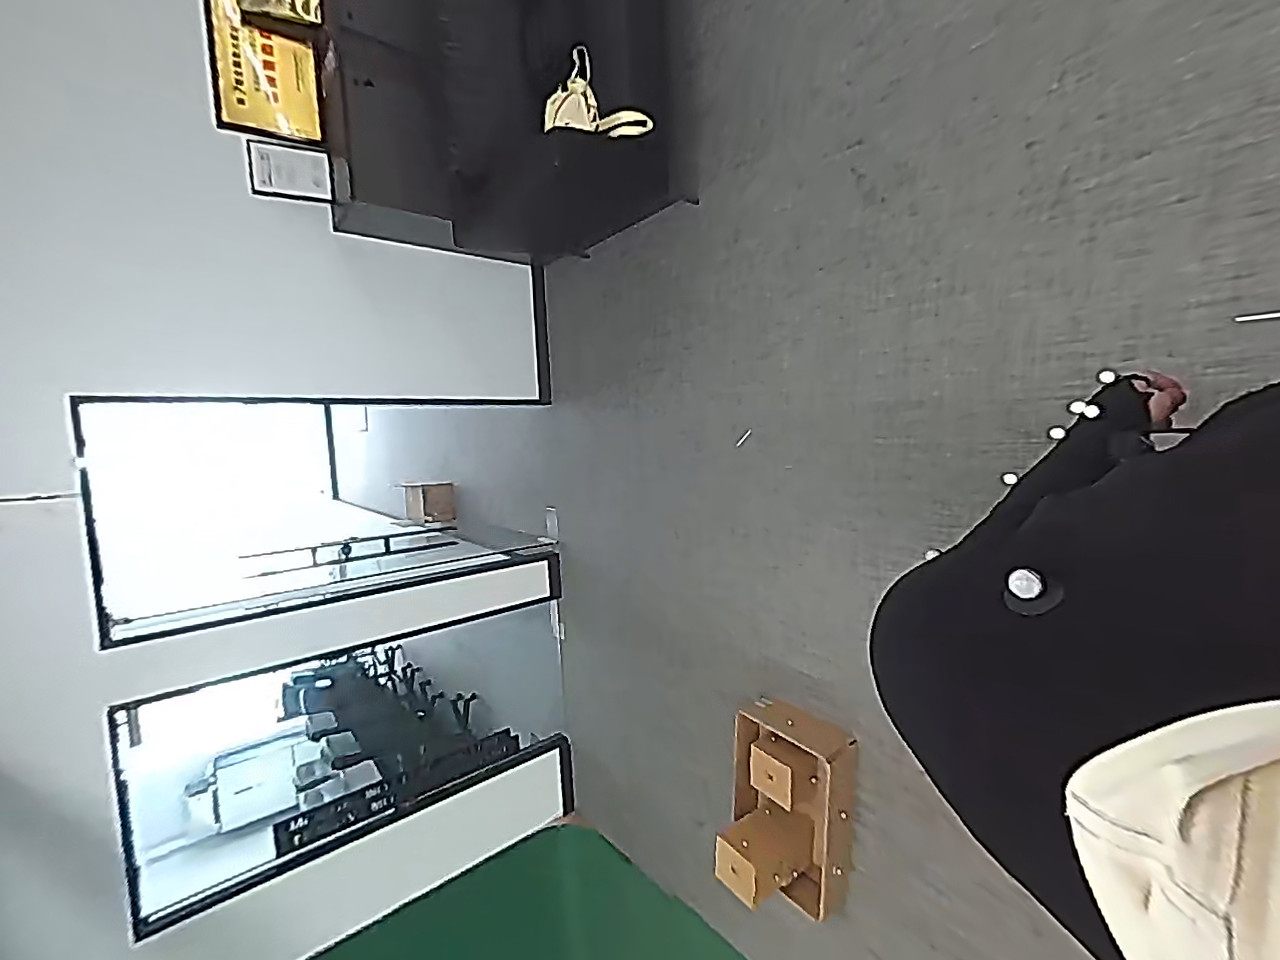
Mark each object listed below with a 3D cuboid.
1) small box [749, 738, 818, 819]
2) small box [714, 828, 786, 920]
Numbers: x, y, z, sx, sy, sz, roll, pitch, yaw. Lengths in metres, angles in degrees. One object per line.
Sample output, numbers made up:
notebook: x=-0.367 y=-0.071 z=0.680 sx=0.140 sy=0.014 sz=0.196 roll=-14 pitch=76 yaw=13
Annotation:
small box: x=0.512 y=1.055 z=1.934 sx=0.179 sy=0.176 sz=0.168 roll=9 pitch=103 yaw=50
small box: x=0.379 y=1.349 z=1.874 sx=0.179 sy=0.176 sz=0.168 roll=10 pitch=101 yaw=51
